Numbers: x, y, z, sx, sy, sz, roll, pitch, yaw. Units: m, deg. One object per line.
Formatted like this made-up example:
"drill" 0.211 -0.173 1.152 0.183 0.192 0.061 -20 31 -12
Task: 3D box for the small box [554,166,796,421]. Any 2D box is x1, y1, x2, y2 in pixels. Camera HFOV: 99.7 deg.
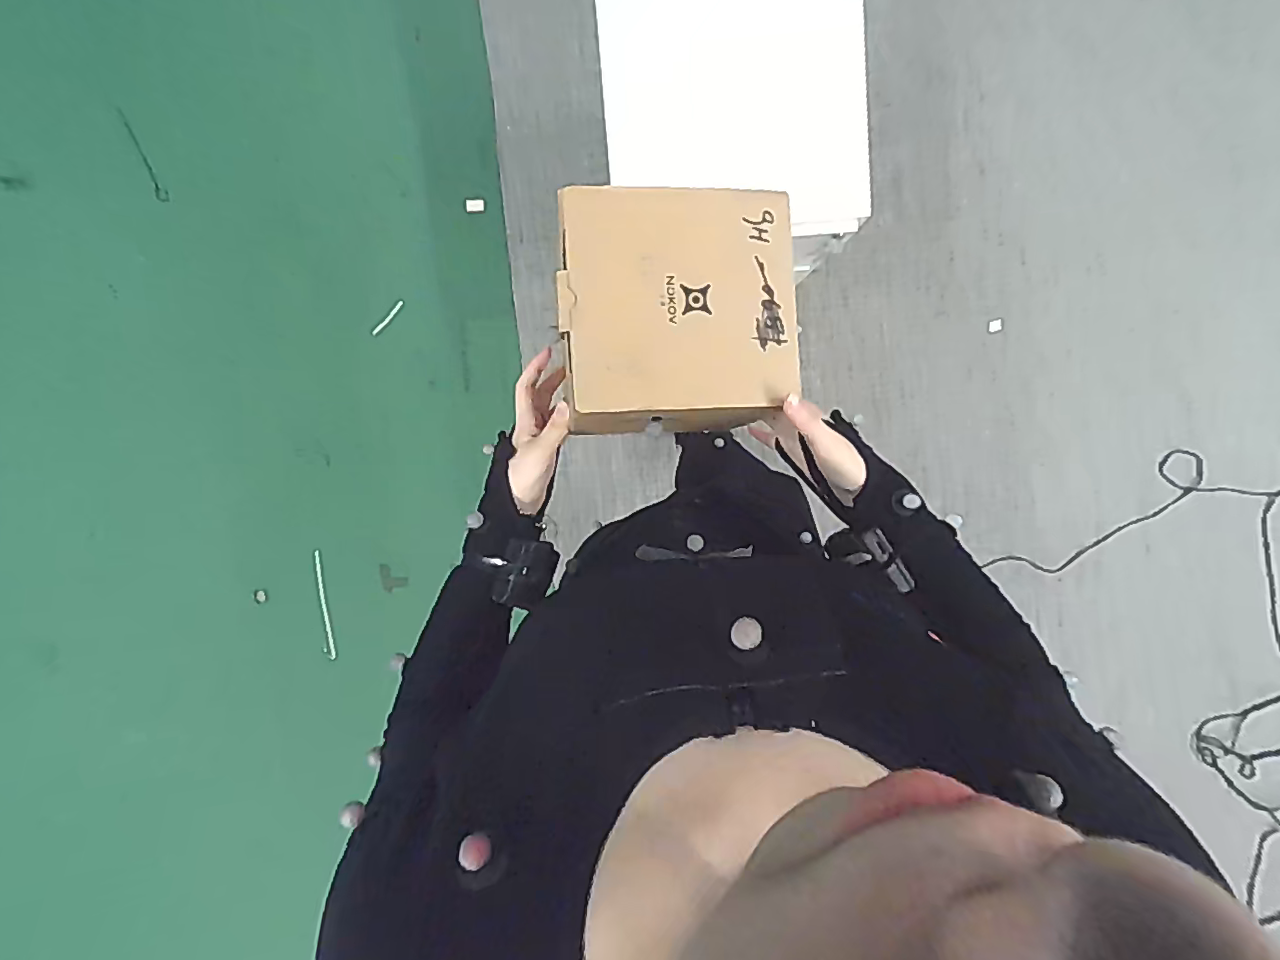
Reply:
"small box" 0.018 -0.146 0.478 0.179 0.176 0.168 -3 89 -8
